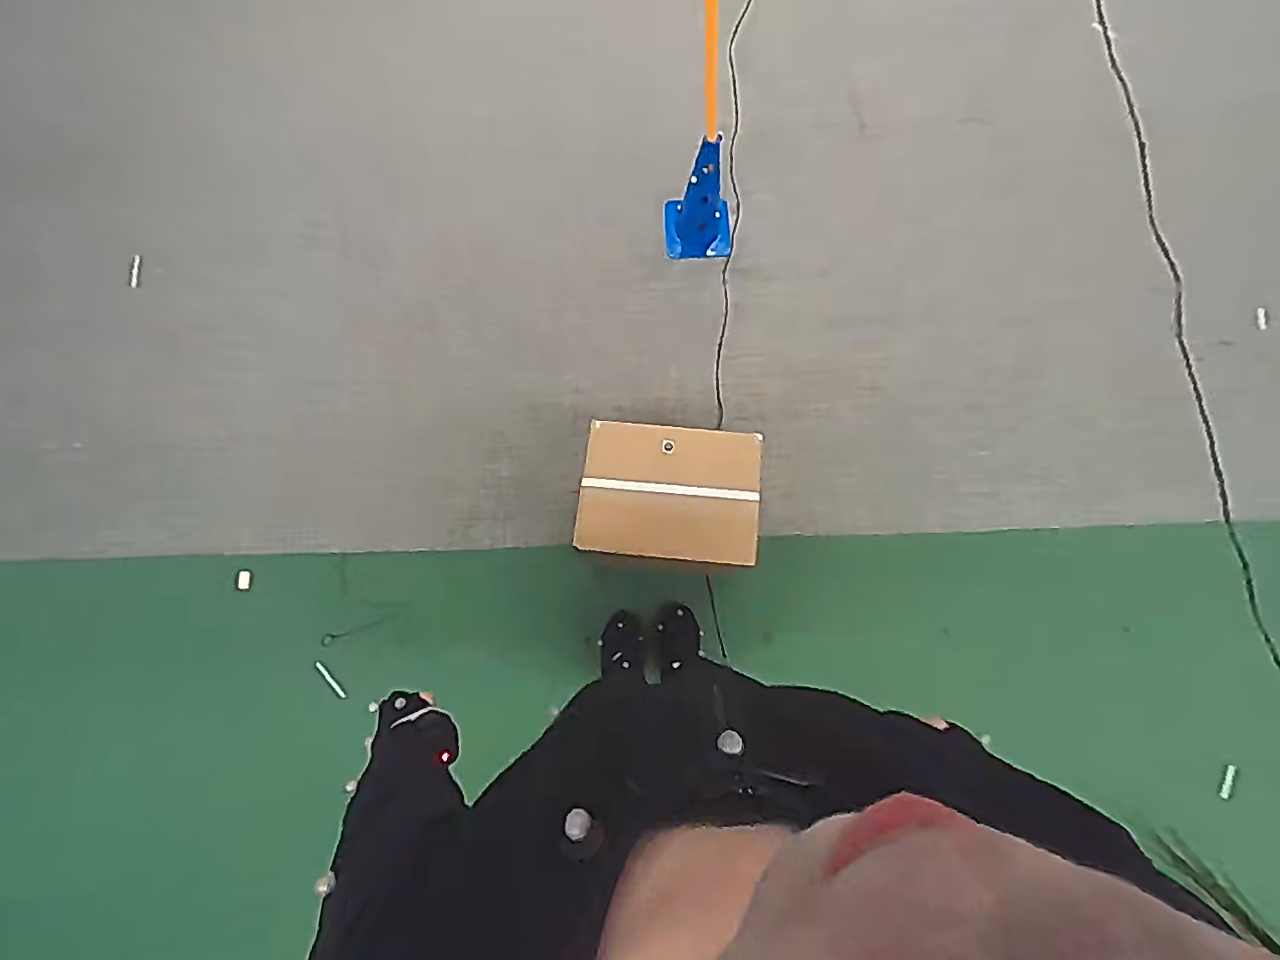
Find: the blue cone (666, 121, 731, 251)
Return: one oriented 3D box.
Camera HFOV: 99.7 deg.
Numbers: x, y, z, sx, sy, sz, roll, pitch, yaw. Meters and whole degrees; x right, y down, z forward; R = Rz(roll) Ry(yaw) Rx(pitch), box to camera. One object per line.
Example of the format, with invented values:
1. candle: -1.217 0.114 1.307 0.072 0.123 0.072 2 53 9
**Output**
1. blue cone: 0.177 -0.824 1.507 0.193 0.380 0.192 -5 80 1
